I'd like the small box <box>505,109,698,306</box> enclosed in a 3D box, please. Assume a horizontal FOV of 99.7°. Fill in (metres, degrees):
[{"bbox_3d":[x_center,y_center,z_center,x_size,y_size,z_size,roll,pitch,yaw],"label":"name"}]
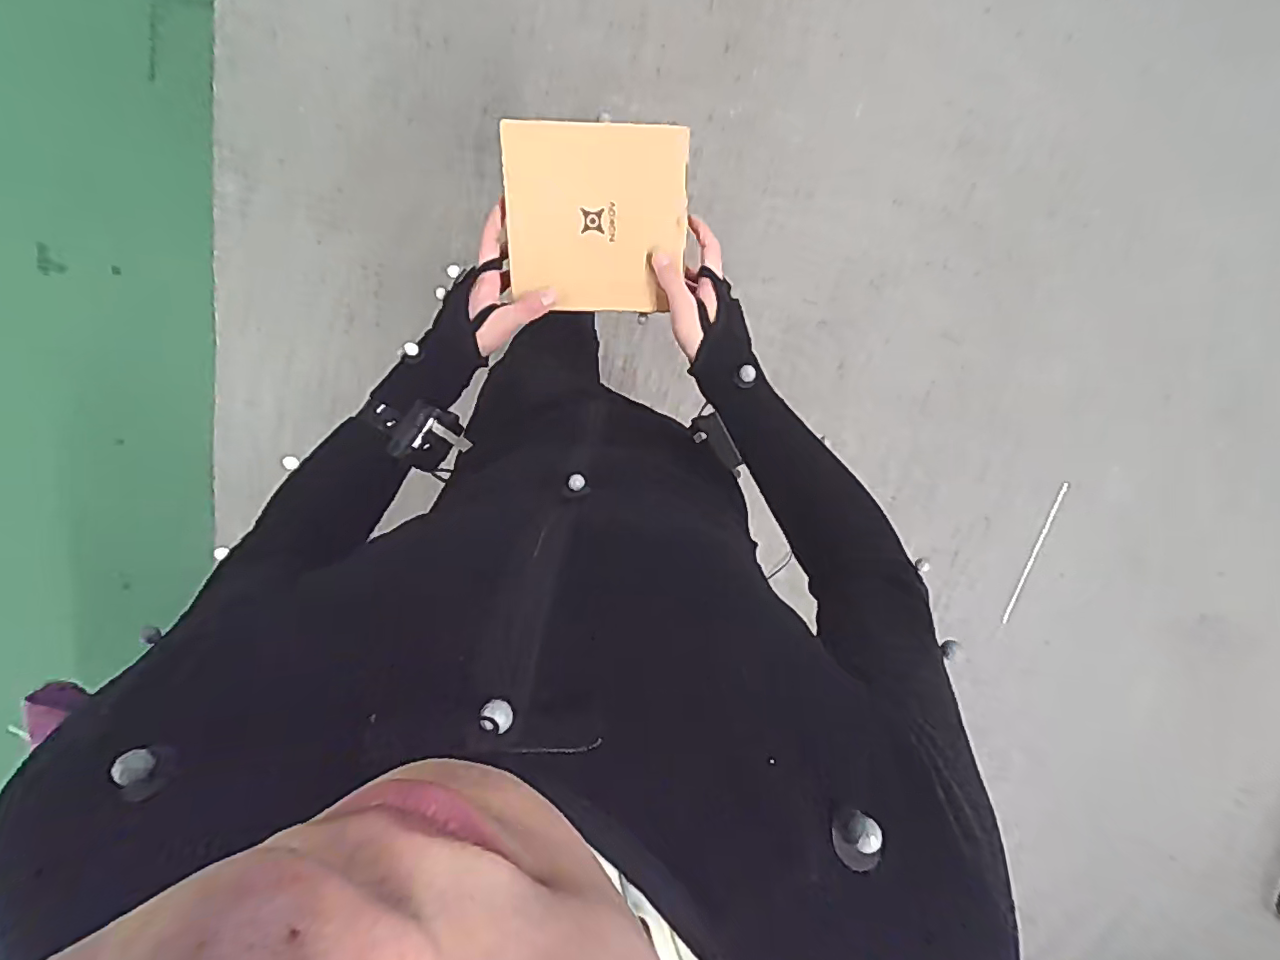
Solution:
[{"bbox_3d":[-0.042,-0.279,0.587,0.179,0.176,0.168,-1,110,-6],"label":"small box"}]
